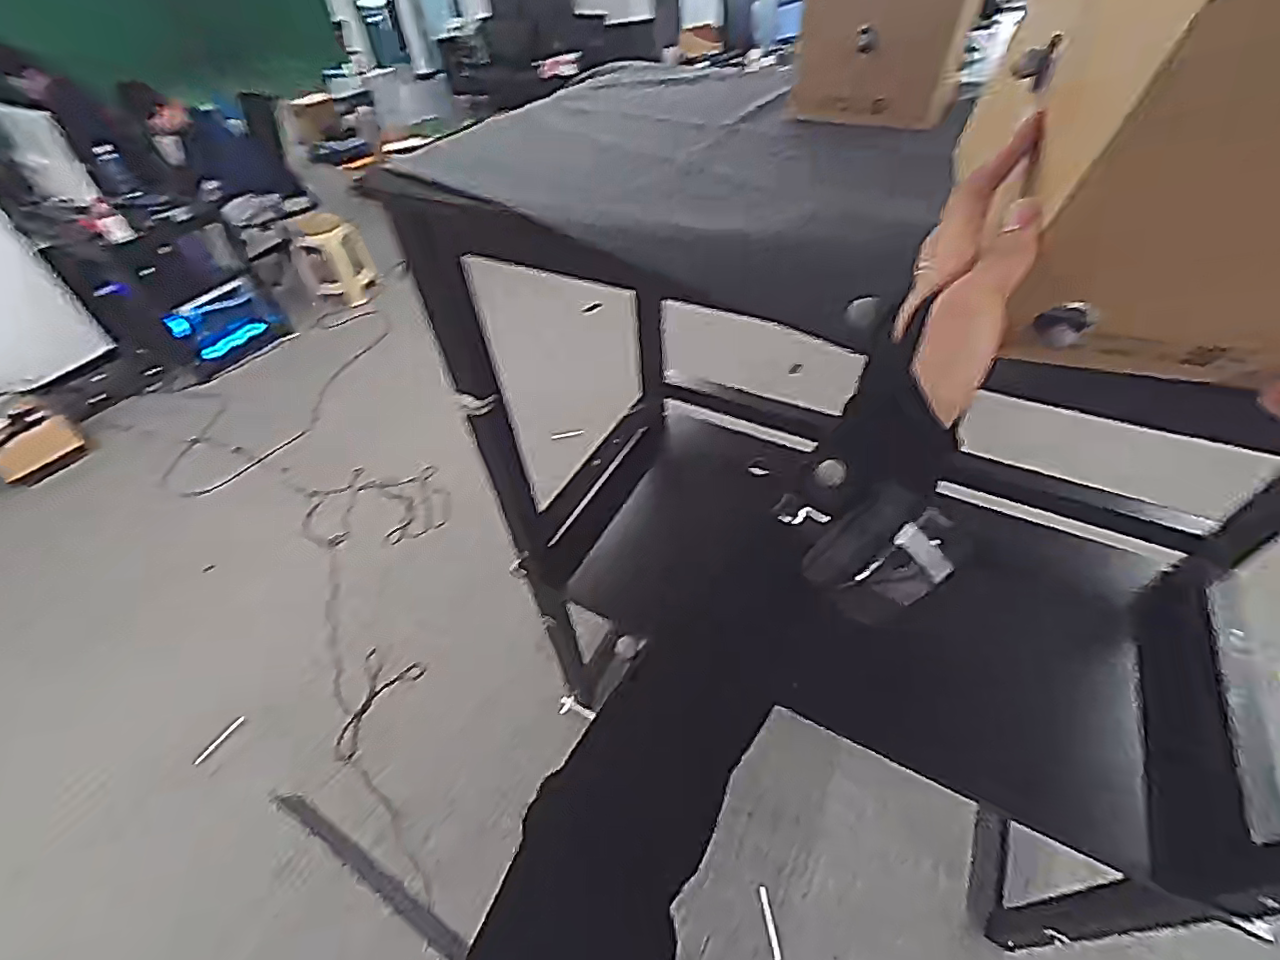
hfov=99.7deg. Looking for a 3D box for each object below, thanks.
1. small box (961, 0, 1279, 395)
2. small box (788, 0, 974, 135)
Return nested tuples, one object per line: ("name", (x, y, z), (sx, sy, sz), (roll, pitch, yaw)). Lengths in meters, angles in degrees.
("small box", (0.269, -0.161, 0.245), (0.168, 0.176, 0.179), (10, 64, 9))
("small box", (0.278, -0.515, 0.616), (0.168, 0.176, 0.179), (20, 51, 20))
